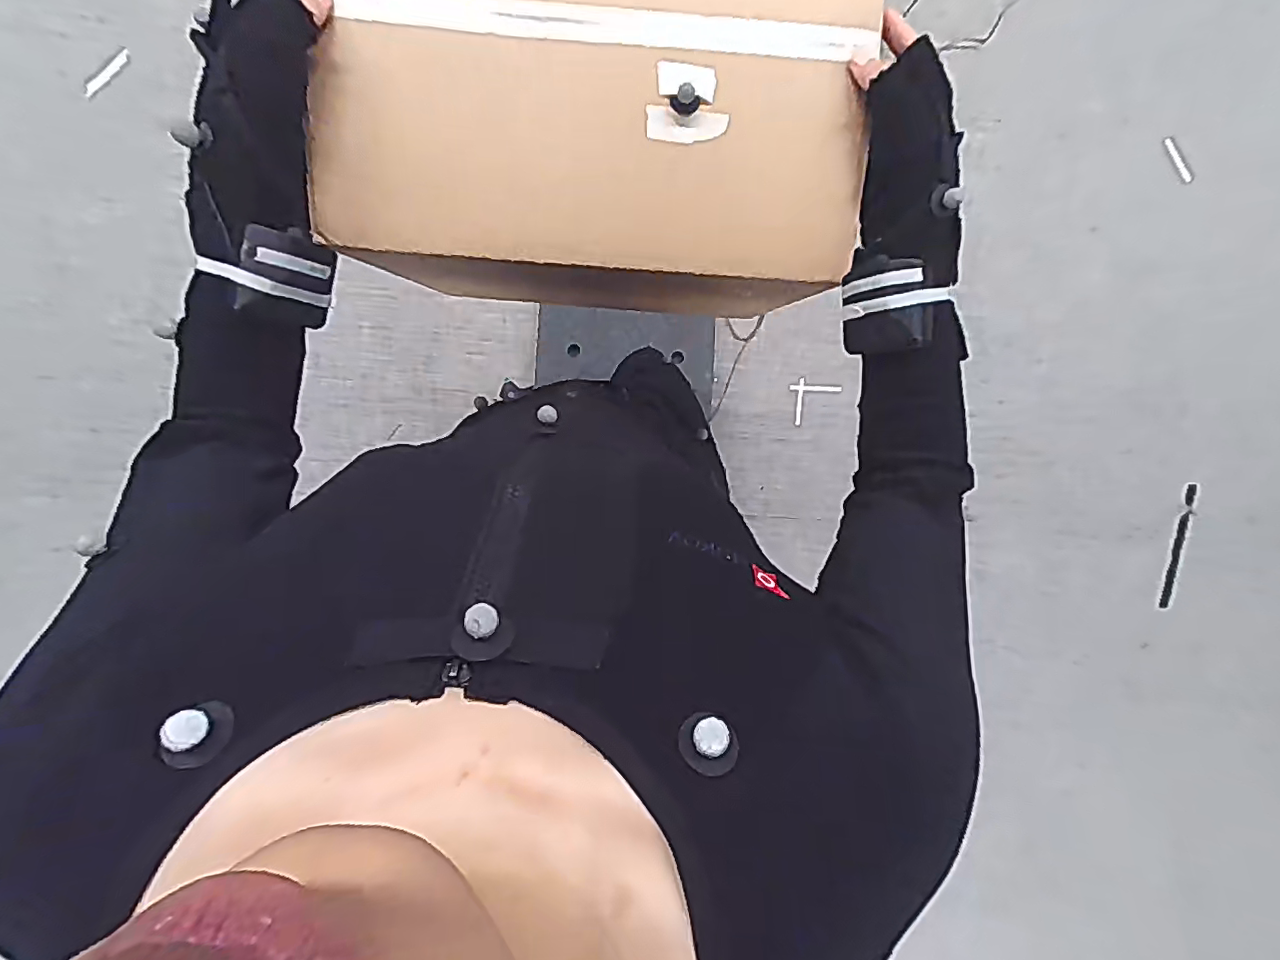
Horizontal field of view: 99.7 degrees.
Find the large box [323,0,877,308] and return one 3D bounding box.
[{"bbox_3d":[-0.034,-0.356,0.537,0.408,0.320,0.320,3,102,-3],"label":"large box"}]
